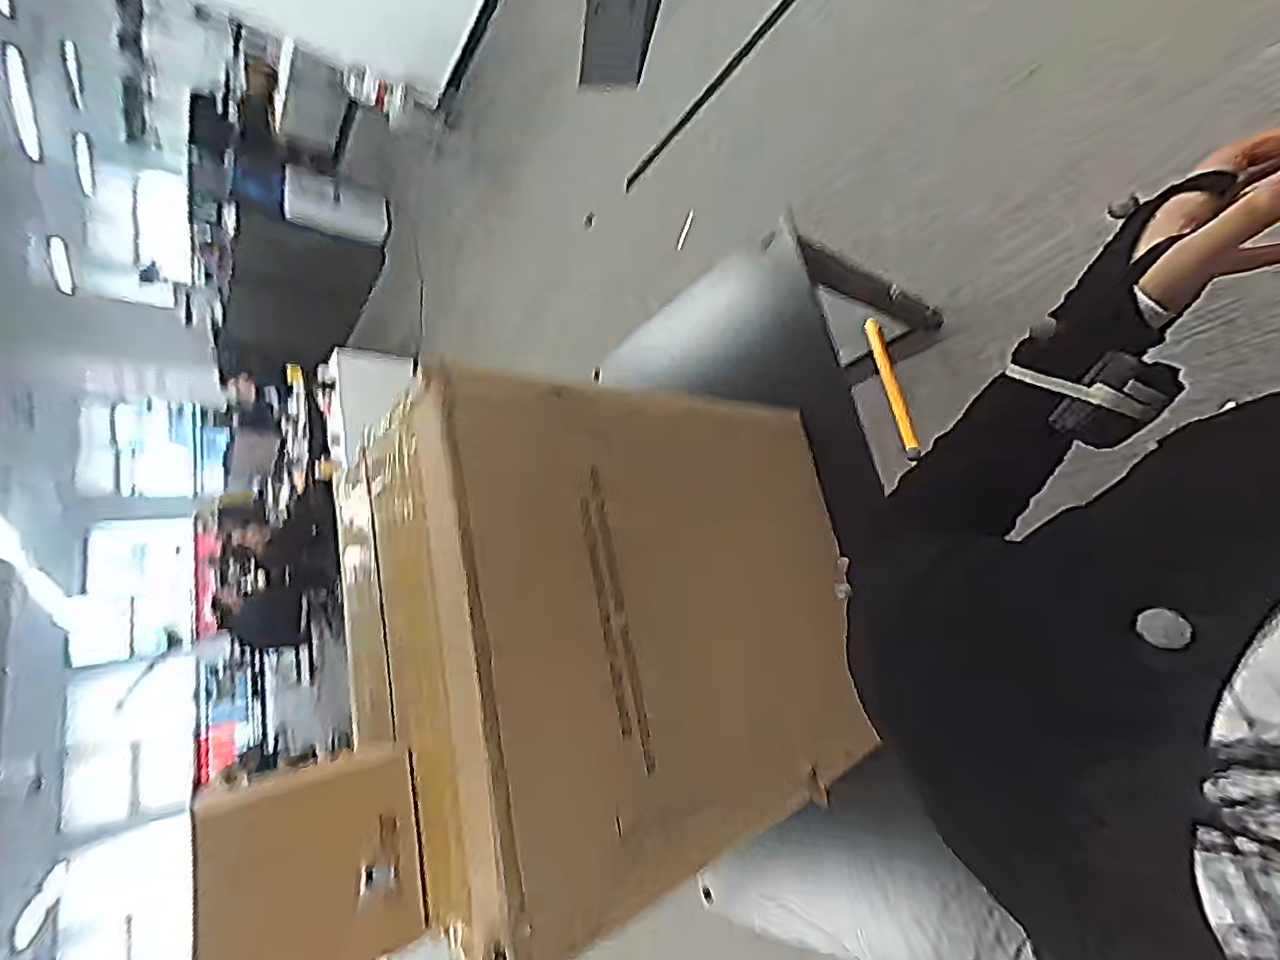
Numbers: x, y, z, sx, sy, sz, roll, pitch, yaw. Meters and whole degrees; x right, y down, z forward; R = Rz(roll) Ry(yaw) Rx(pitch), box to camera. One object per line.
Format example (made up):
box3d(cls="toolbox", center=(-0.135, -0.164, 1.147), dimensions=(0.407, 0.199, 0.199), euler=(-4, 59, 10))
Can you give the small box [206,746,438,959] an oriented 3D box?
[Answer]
box3d(cls="small box", center=(-0.311, 0.371, 0.524), dimensions=(0.179, 0.176, 0.168), euler=(-33, 66, 45))
